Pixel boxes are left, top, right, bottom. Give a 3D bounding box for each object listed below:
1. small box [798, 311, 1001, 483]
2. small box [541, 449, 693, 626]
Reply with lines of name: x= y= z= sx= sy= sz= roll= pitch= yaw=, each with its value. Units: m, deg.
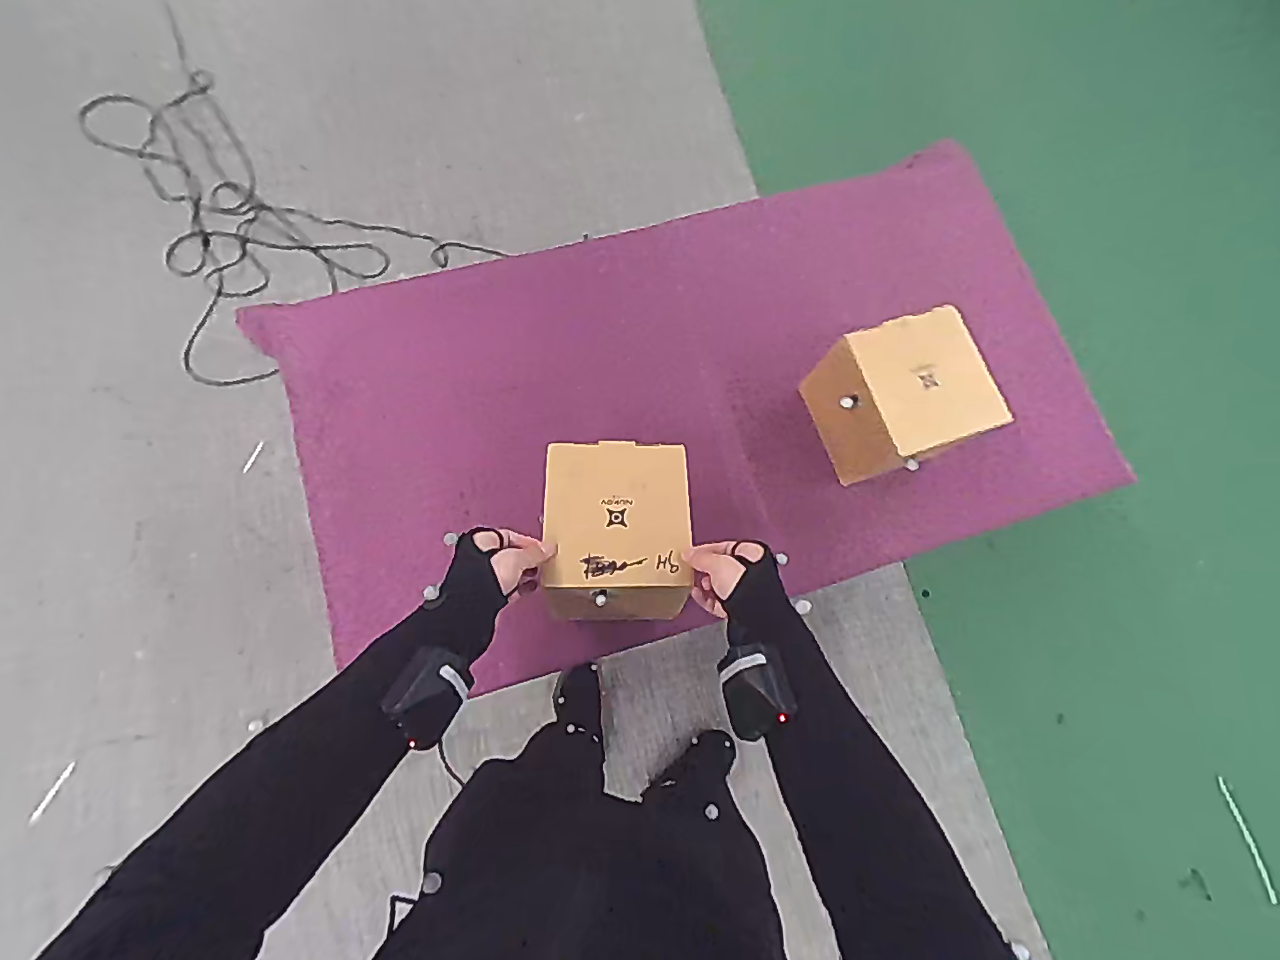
small box: x=0.354 y=-0.105 z=0.773 sx=0.168 sy=0.176 sz=0.179 roll=-17 pitch=77 yaw=-8
small box: x=-0.029 y=0.078 z=0.681 sx=0.168 sy=0.176 sz=0.179 roll=1 pitch=64 yaw=-3
